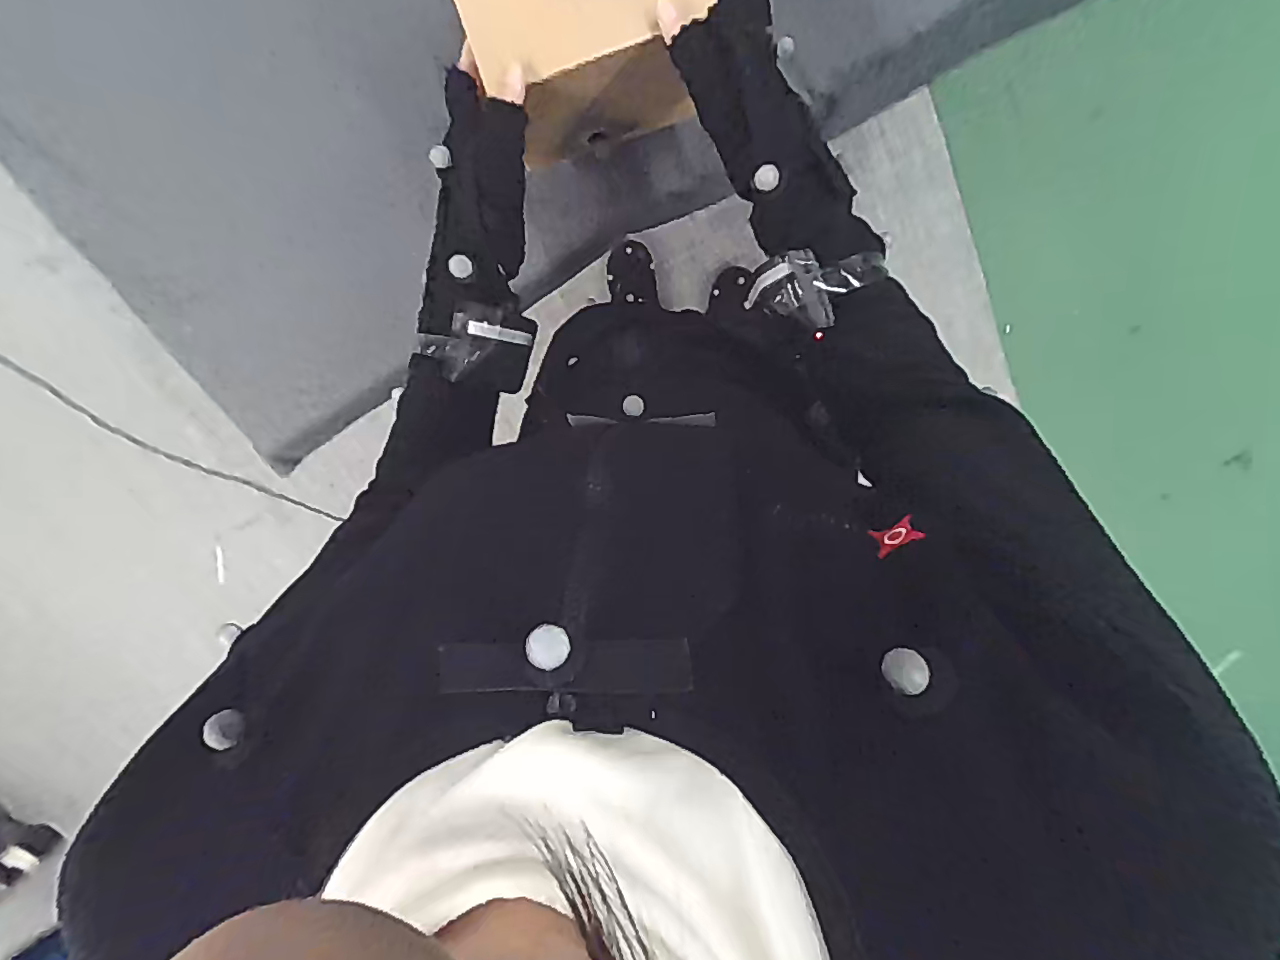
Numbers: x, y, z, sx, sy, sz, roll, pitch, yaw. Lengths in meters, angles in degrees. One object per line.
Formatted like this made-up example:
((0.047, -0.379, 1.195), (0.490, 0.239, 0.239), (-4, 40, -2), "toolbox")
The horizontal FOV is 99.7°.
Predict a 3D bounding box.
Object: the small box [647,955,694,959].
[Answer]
((0.100, 1.519, 1.565), (0.179, 0.176, 0.168), (7, 115, 1), "small box")

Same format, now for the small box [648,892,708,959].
((0.115, 1.446, 1.708), (0.168, 0.176, 0.179), (7, 114, 0), "small box")

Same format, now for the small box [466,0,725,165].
((-0.047, -0.383, 0.419), (0.168, 0.176, 0.179), (-17, 103, 4), "small box")
